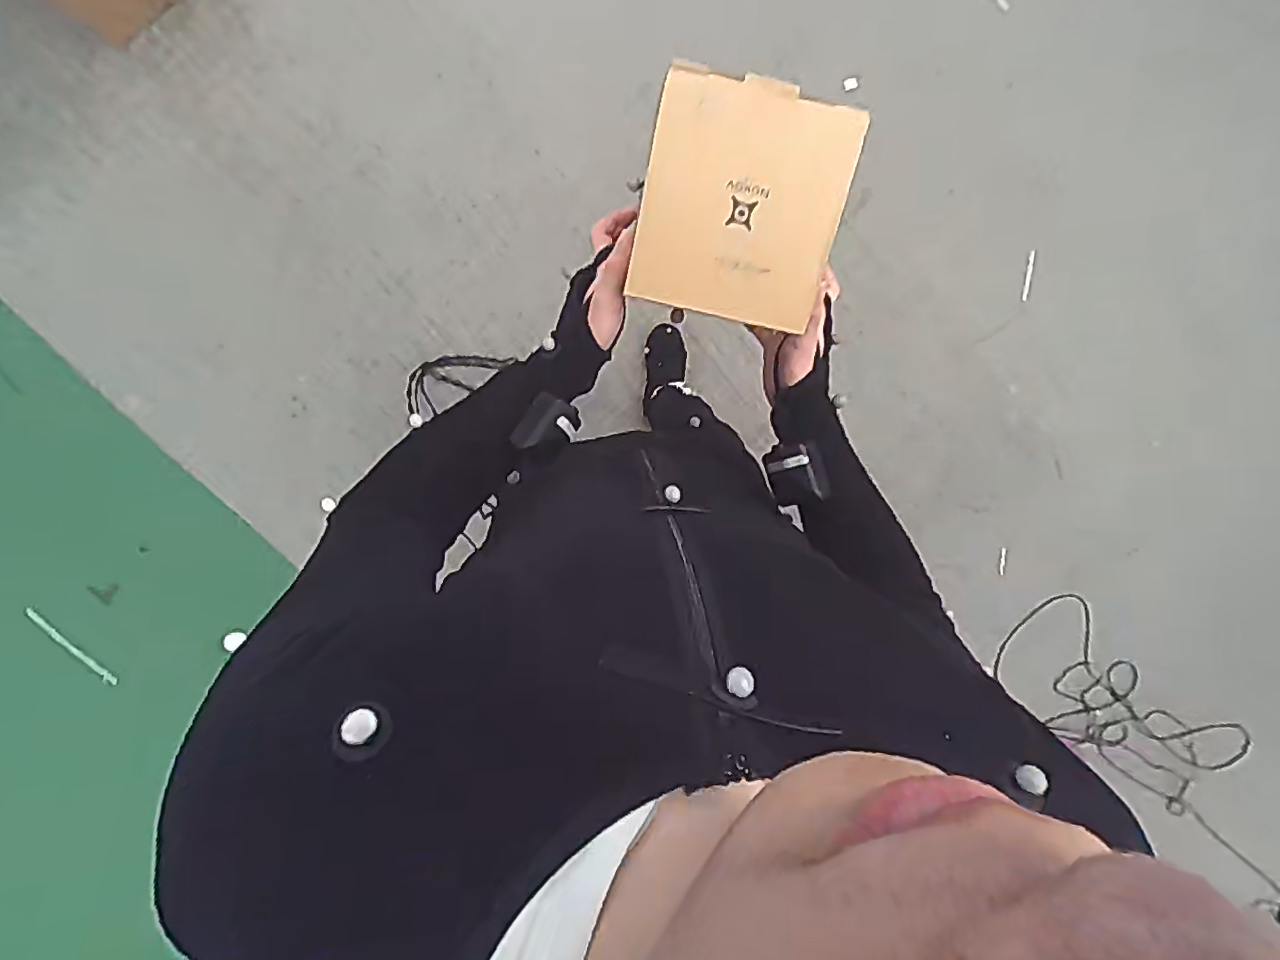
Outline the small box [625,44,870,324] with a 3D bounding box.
[{"bbox_3d":[0.080,-0.257,0.511,0.168,0.176,0.179,10,110,-5],"label":"small box"}]
